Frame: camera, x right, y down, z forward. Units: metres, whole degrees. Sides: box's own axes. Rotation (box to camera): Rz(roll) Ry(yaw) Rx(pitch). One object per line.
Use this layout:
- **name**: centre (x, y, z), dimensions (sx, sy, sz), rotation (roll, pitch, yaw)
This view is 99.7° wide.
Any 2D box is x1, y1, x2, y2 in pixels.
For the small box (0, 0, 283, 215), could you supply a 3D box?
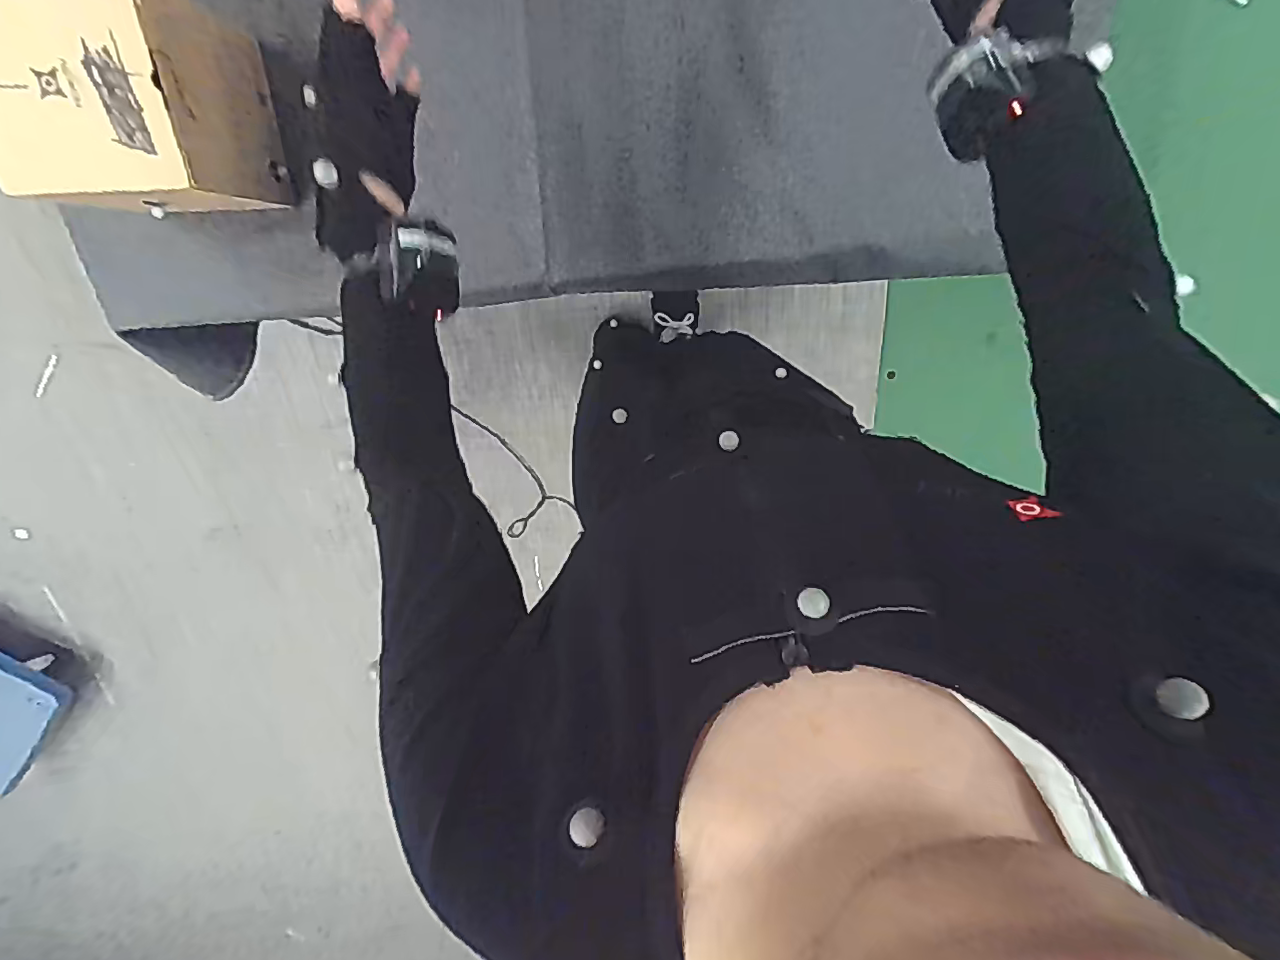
- **small box**: centre (-0.492, -0.363, 0.535), dimensions (0.179, 0.176, 0.168), rotation (-2, 111, 0)
